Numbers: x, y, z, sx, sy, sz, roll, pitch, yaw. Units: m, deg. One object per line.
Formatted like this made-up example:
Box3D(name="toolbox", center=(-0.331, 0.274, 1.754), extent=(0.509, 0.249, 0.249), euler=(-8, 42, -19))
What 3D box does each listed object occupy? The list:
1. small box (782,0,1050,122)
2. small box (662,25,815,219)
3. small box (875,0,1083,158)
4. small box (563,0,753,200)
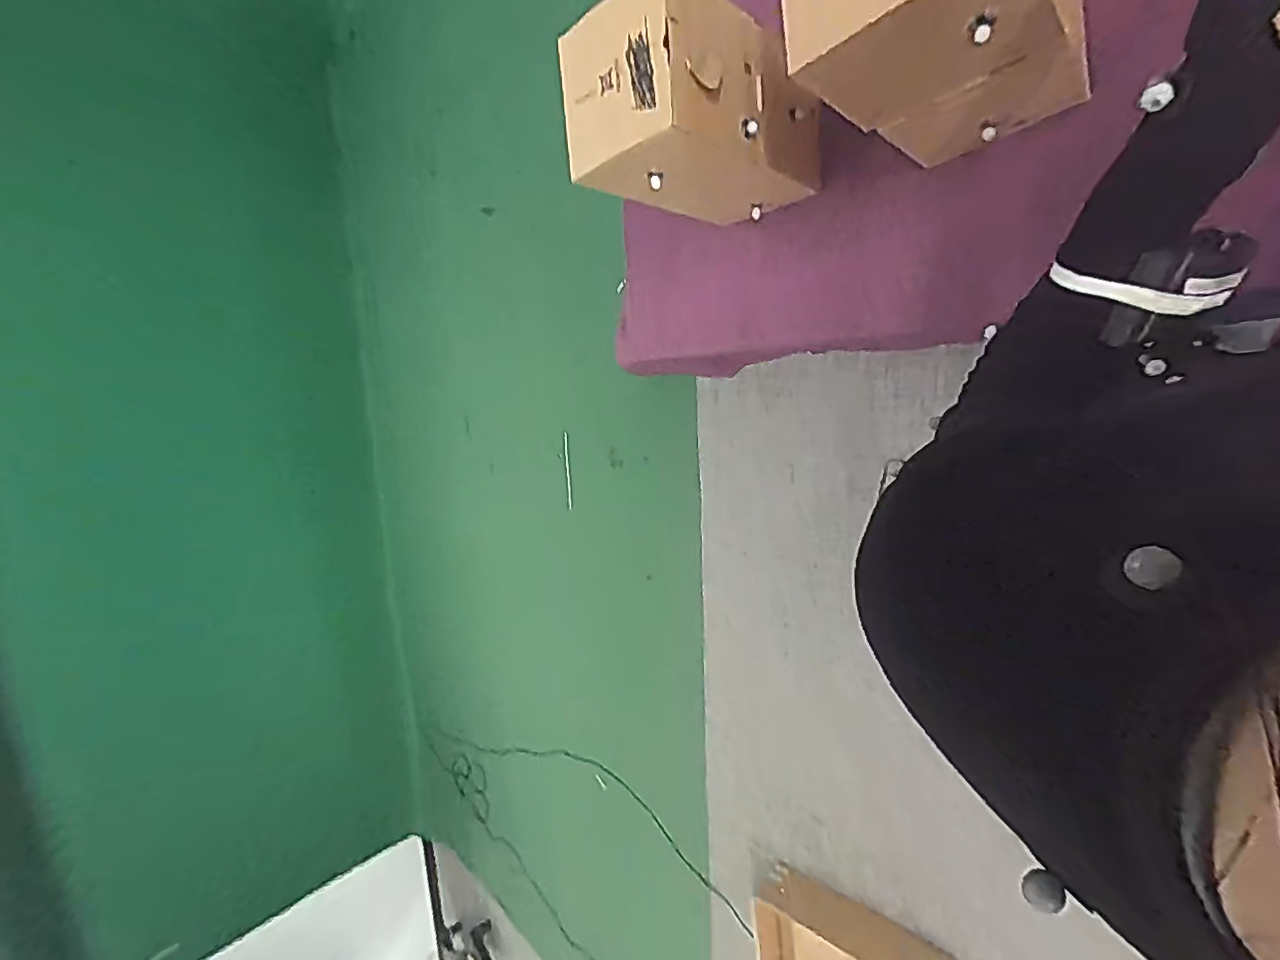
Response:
Box3D(name="small box", center=(0.241, -0.456, 0.471), extent=(0.179, 0.176, 0.168), euler=(0, 99, 46))
Box3D(name="small box", center=(0.144, -0.501, 0.791), extent=(0.179, 0.176, 0.168), euler=(4, 102, 44))
Box3D(name="small box", center=(0.357, -0.487, 0.582), extent=(0.168, 0.176, 0.179), euler=(-4, 98, 46))
Box3D(name="small box", center=(0.029, -0.473, 0.676), extent=(0.179, 0.176, 0.168), euler=(4, 103, 45))
